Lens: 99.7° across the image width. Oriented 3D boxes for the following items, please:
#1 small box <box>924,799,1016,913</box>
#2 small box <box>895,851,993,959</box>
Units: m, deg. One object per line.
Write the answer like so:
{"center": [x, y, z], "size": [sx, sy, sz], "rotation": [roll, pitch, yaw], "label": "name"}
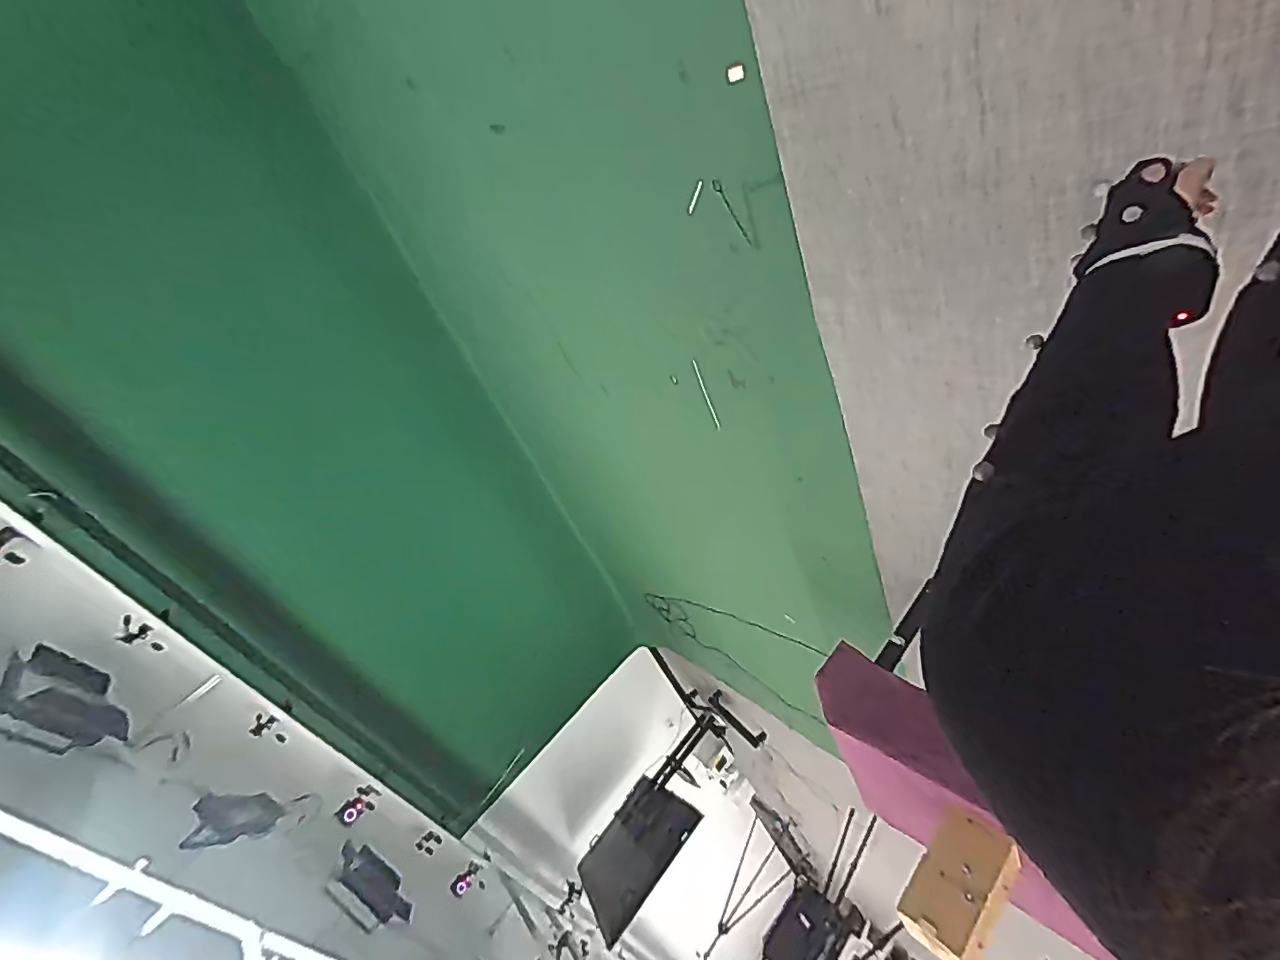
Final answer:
{"center": [0.931, 1.049, 1.520], "size": [0.168, 0.176, 0.179], "rotation": [12, 139, 51], "label": "small box"}
{"center": [0.820, 1.152, 1.455], "size": [0.168, 0.176, 0.179], "rotation": [13, 140, 52], "label": "small box"}
